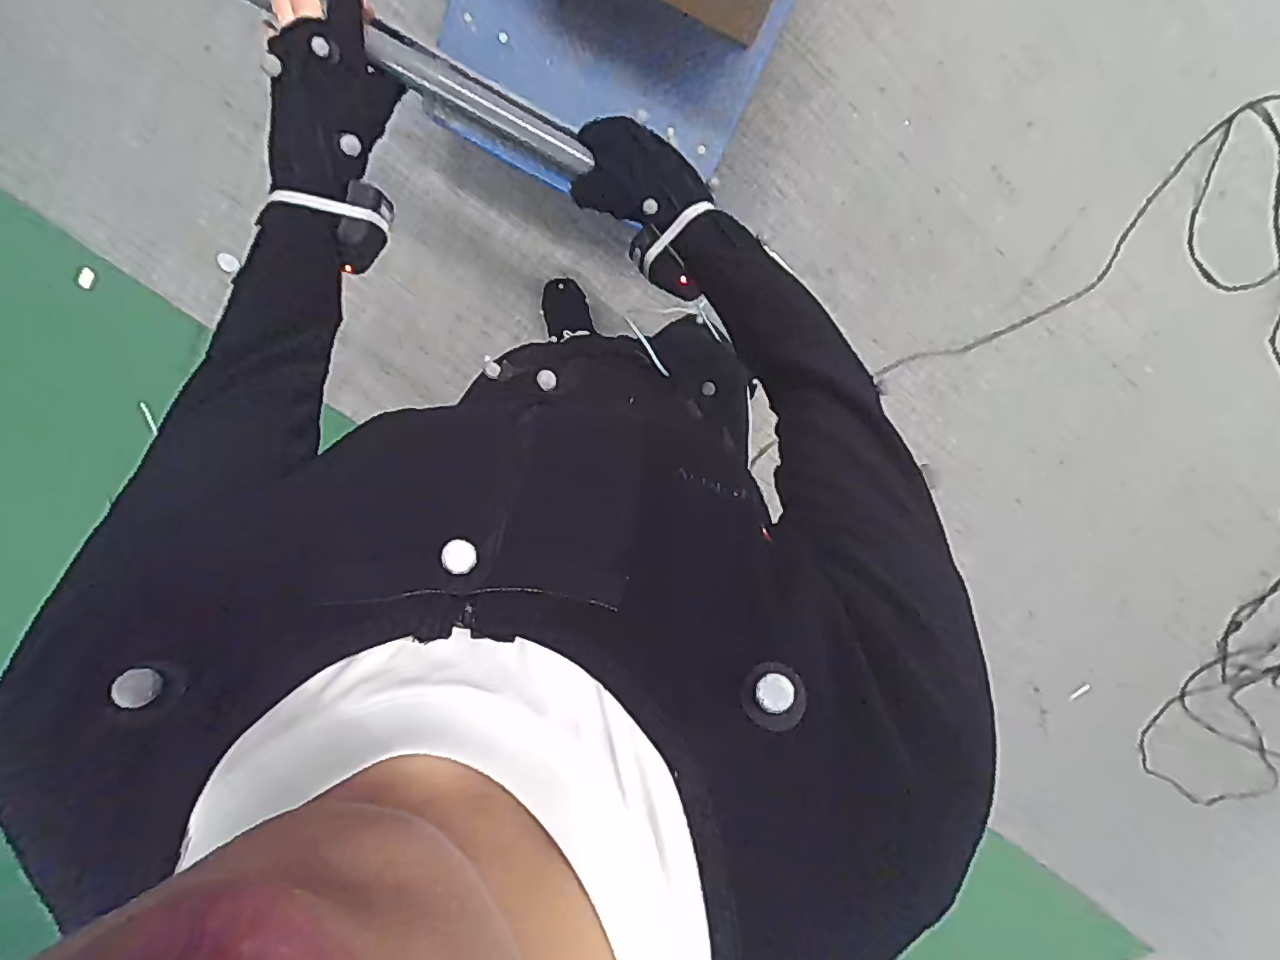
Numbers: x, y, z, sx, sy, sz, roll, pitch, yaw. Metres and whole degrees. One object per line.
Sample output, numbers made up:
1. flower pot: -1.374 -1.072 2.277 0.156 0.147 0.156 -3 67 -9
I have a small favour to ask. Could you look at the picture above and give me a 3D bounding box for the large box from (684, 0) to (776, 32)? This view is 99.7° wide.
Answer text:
1. large box: 0.087 -0.980 0.810 0.408 0.320 0.320 21 110 -6
